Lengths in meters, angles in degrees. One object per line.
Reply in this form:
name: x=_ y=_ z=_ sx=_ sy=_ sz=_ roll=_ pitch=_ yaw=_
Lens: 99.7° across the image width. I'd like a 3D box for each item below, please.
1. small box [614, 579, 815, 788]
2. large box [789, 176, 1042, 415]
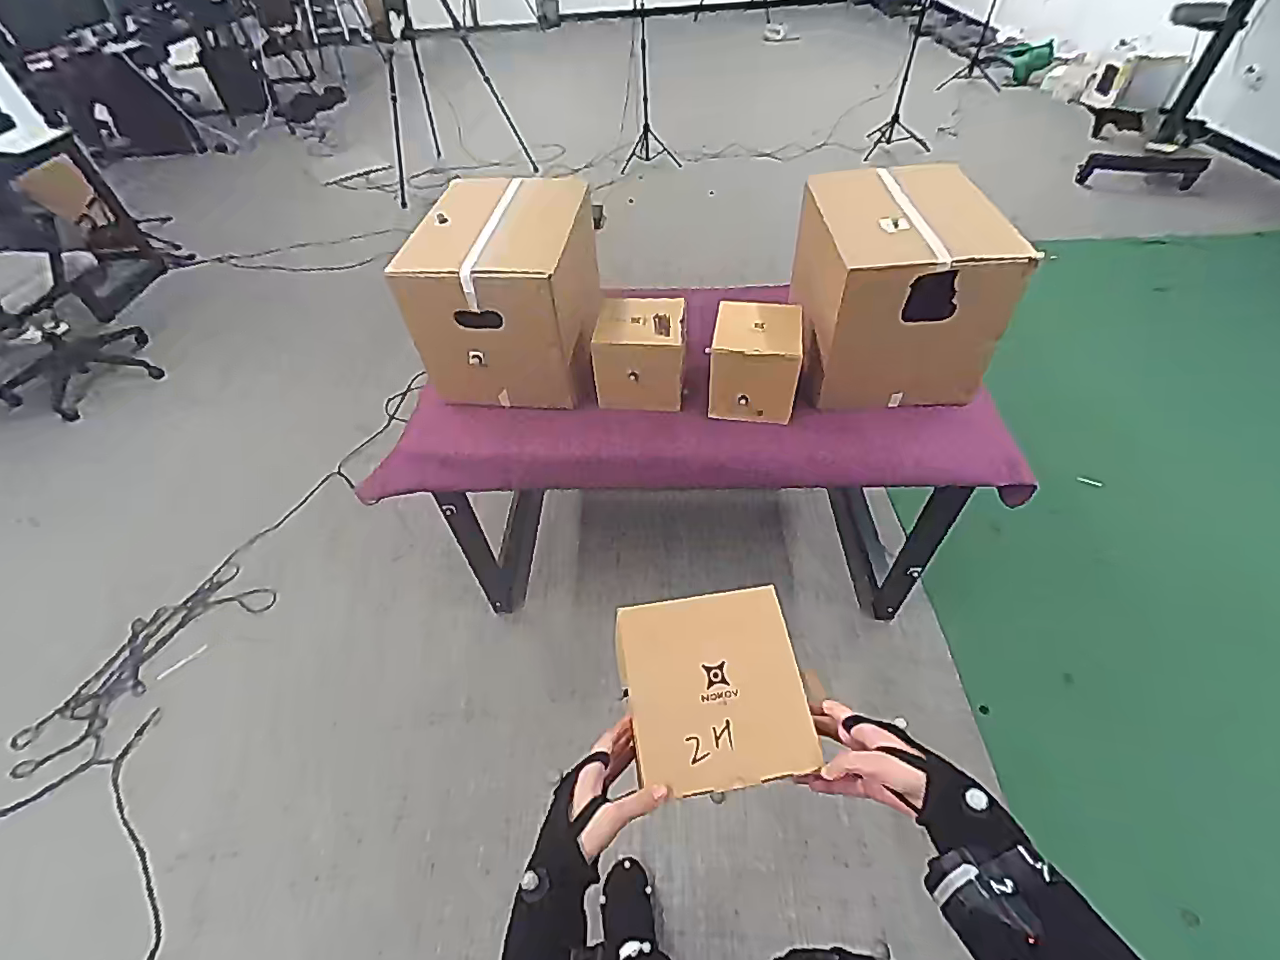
small box: x=0.062 y=0.223 z=0.585 sx=0.168 sy=0.176 sz=0.179 roll=-6 pitch=62 yaw=-6
large box: x=0.515 y=-0.386 z=1.127 sx=0.320 sy=0.320 sz=0.408 roll=-2 pitch=49 yaw=5
